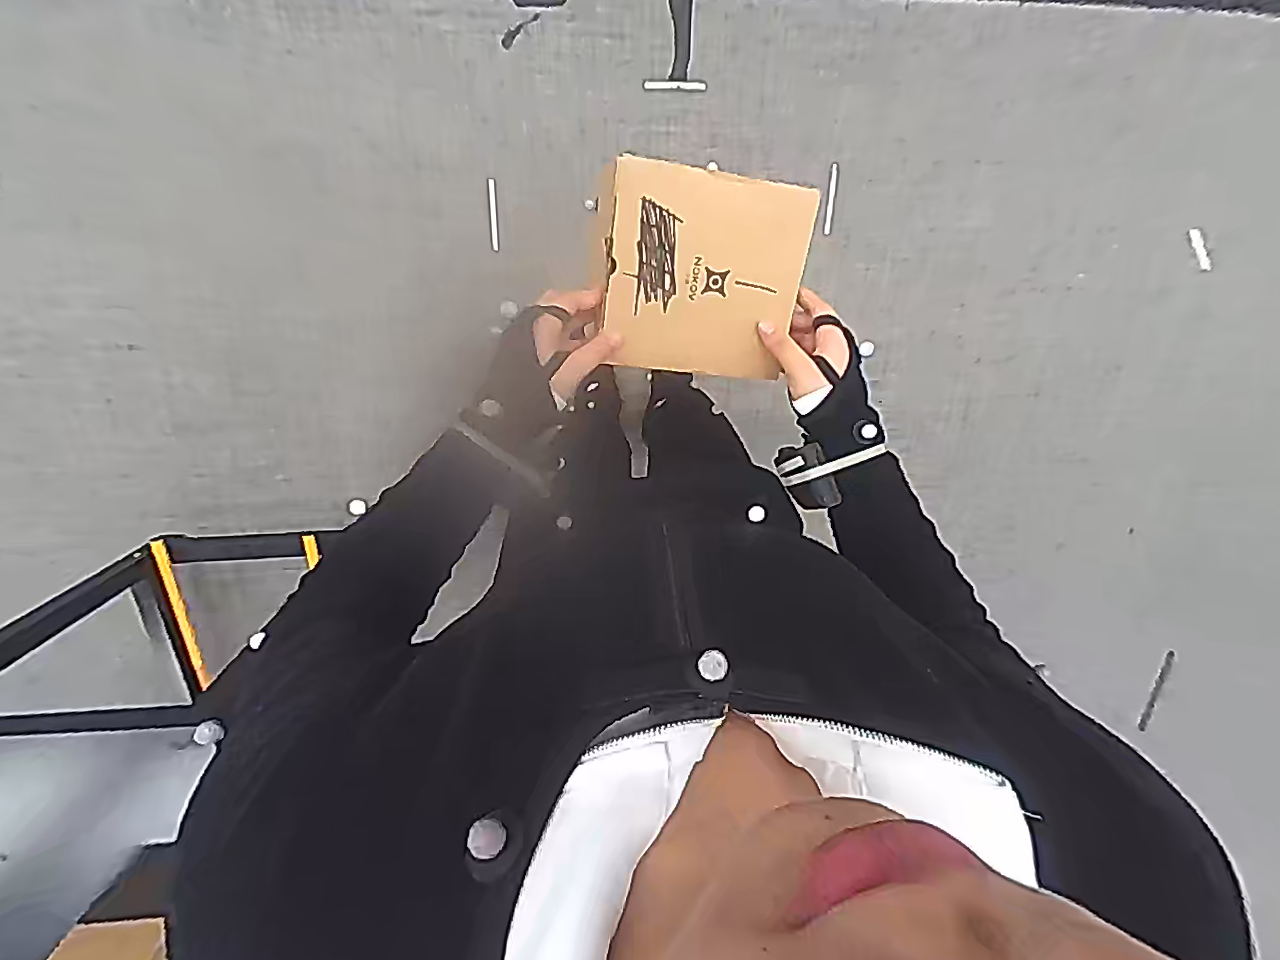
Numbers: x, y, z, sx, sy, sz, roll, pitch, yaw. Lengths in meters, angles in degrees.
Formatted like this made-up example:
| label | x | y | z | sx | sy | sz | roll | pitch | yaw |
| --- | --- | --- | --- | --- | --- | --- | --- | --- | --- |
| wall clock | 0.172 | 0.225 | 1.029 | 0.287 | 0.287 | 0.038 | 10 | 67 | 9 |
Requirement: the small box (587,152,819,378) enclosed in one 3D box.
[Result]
| label | x | y | z | sx | sy | sz | roll | pitch | yaw |
| --- | --- | --- | --- | --- | --- | --- | --- | --- | --- |
| small box | 0.044 | -0.210 | 0.542 | 0.179 | 0.176 | 0.168 | 3 | 114 | -12 |

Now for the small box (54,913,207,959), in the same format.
| label | x | y | z | sx | sy | sz | roll | pitch | yaw |
| --- | --- | --- | --- | --- | --- | --- | --- | --- | --- |
| small box | -0.877 | 0.863 | 0.894 | 0.179 | 0.176 | 0.168 | -3 | 112 | -5 |
